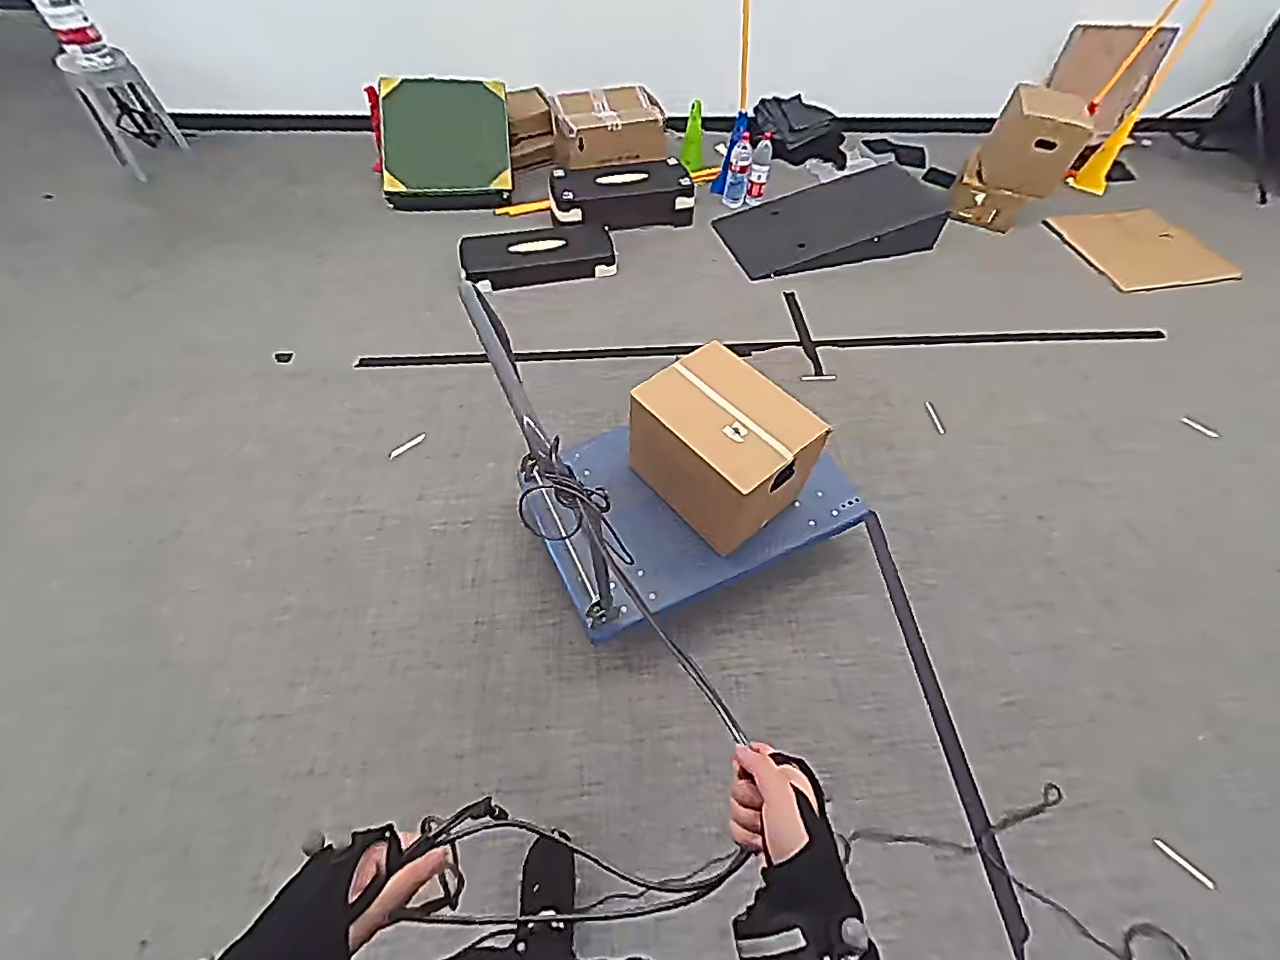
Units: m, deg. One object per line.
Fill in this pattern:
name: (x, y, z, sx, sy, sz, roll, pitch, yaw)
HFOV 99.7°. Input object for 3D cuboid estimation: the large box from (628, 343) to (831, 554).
large box: (0.212, -0.085, 1.444, 0.320, 0.320, 0.408, -35, 65, -22)
